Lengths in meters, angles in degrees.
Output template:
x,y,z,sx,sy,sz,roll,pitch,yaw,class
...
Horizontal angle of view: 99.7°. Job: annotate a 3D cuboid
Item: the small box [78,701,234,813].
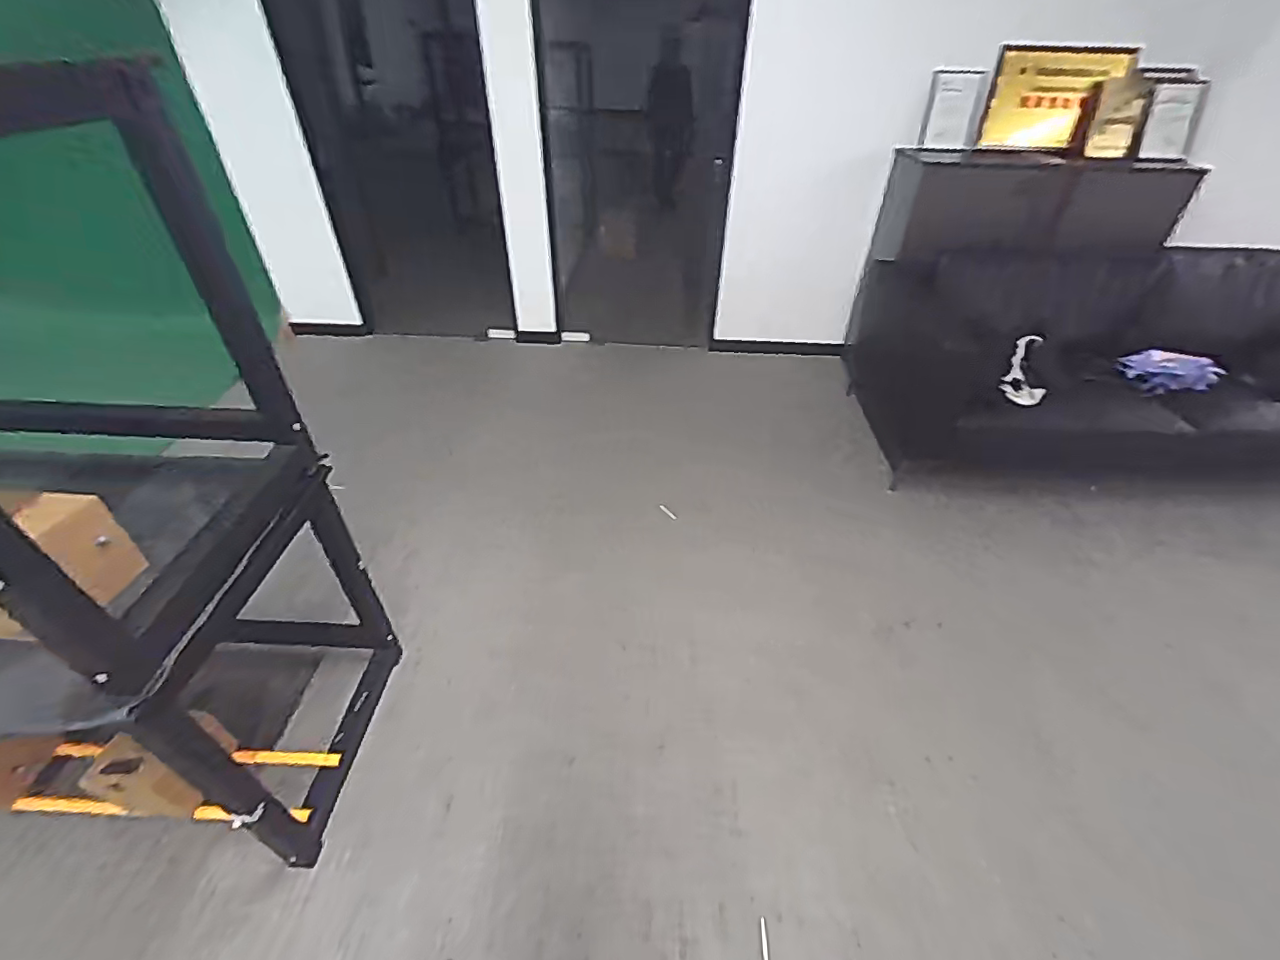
x,y,z,sx,sy,sz,roll,pitch,yaw,class
-1.090,0.638,1.240,0.168,0.176,0.179,5,40,3,small box
